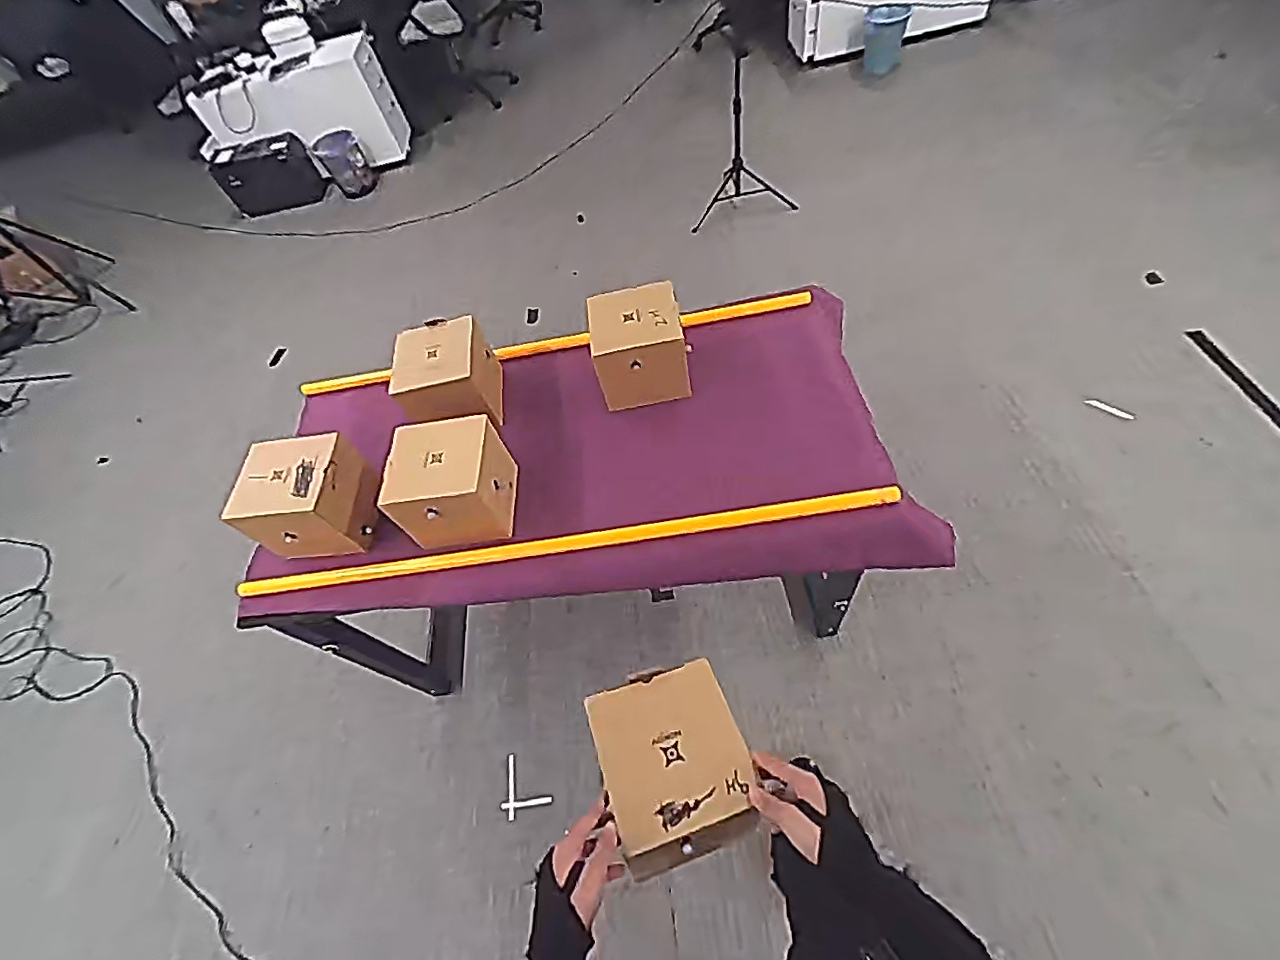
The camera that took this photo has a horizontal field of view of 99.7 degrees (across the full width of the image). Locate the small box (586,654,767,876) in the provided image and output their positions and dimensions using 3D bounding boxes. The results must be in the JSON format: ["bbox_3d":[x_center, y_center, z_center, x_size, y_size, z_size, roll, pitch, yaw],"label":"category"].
[{"bbox_3d":[0.037,0.355,0.677,0.168,0.176,0.179,-15,47,-11],"label":"small box"}]

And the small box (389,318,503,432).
[{"bbox_3d":[-0.397,-0.205,1.136,0.168,0.176,0.179,-12,57,4],"label":"small box"}]

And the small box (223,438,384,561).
[{"bbox_3d":[-0.615,0.041,1.018,0.179,0.176,0.168,-6,57,7],"label":"small box"}]

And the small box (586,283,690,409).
[{"bbox_3d":[-0.001,-0.264,1.095,0.179,0.176,0.168,-10,58,5],"label":"small box"}]

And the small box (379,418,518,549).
[{"bbox_3d":[-0.335,0.011,0.986,0.179,0.176,0.168,-8,56,7],"label":"small box"}]
